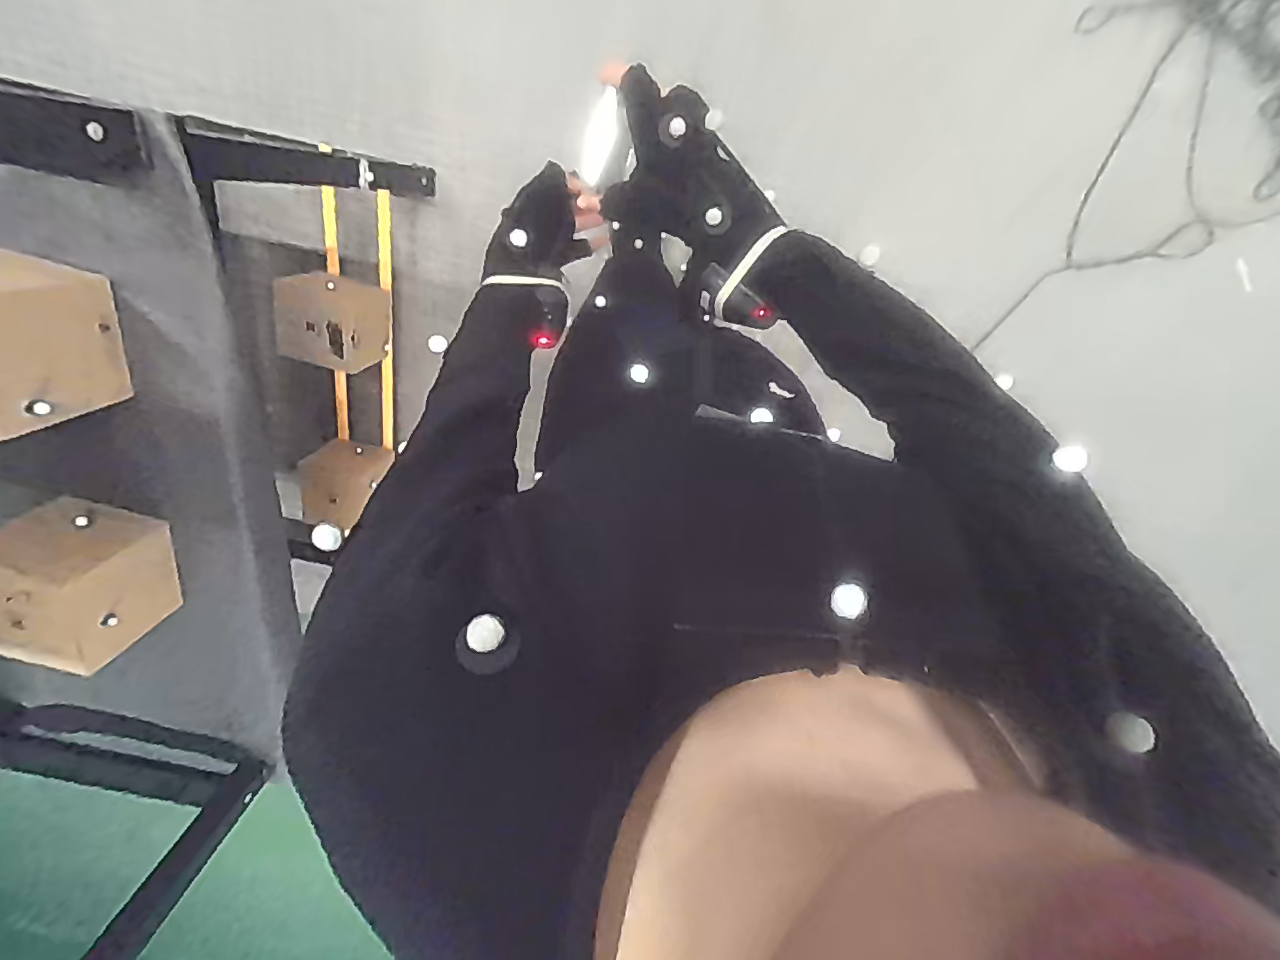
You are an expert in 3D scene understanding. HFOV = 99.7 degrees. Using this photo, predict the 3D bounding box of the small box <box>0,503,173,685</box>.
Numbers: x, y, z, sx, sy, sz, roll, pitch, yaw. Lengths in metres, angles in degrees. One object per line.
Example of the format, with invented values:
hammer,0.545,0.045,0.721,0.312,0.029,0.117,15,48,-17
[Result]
small box,-0.845,0.162,0.802,0.168,0.176,0.179,15,117,-2

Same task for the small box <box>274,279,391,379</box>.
small box,-0.691,-0.350,1.233,0.179,0.176,0.168,15,116,-3
